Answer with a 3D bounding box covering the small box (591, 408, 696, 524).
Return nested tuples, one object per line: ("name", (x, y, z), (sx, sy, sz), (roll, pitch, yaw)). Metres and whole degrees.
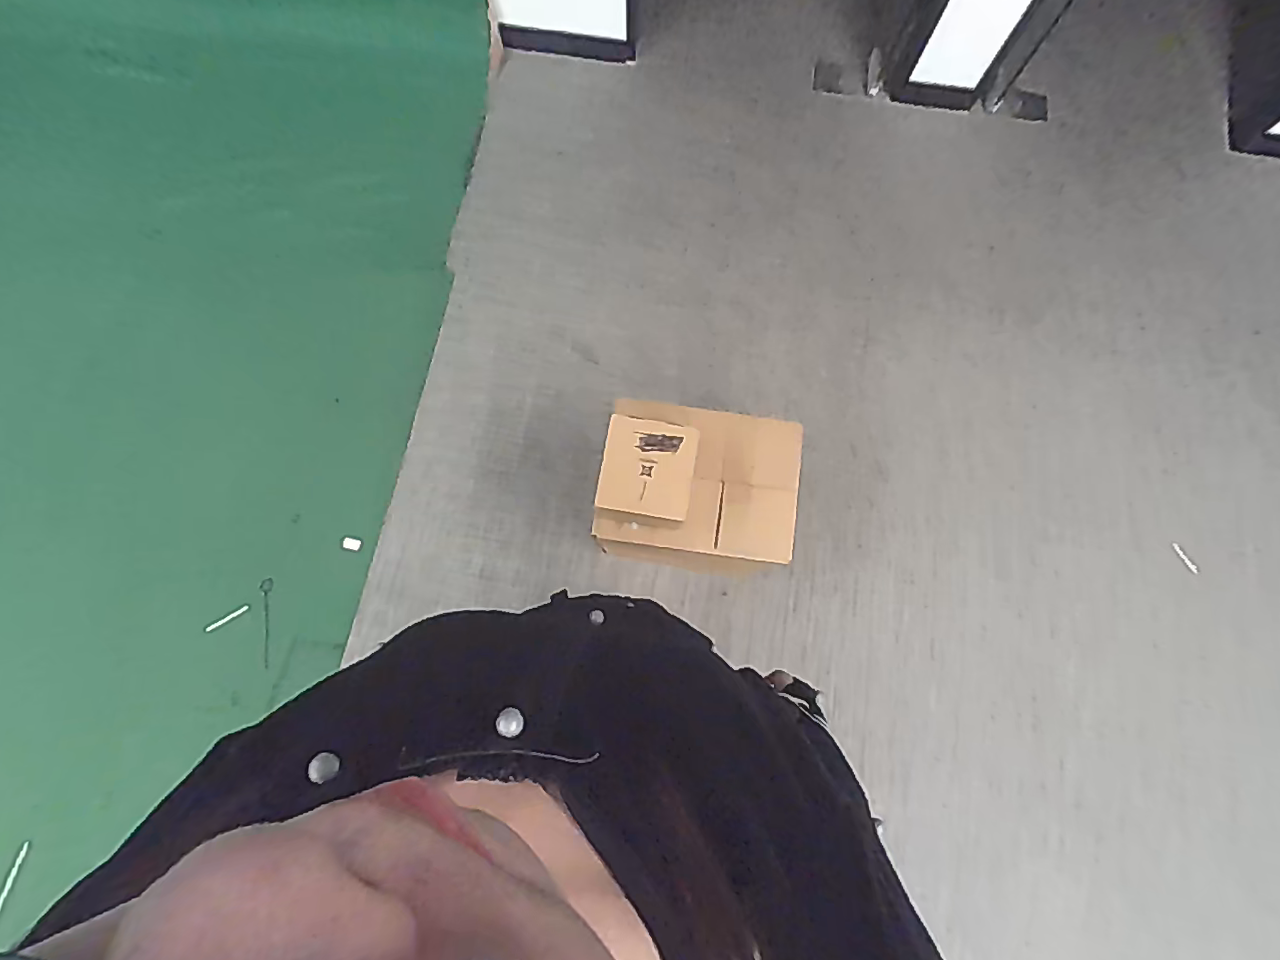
("small box", (0.005, -0.020, 1.052), (0.168, 0.176, 0.179), (11, 80, 0))
